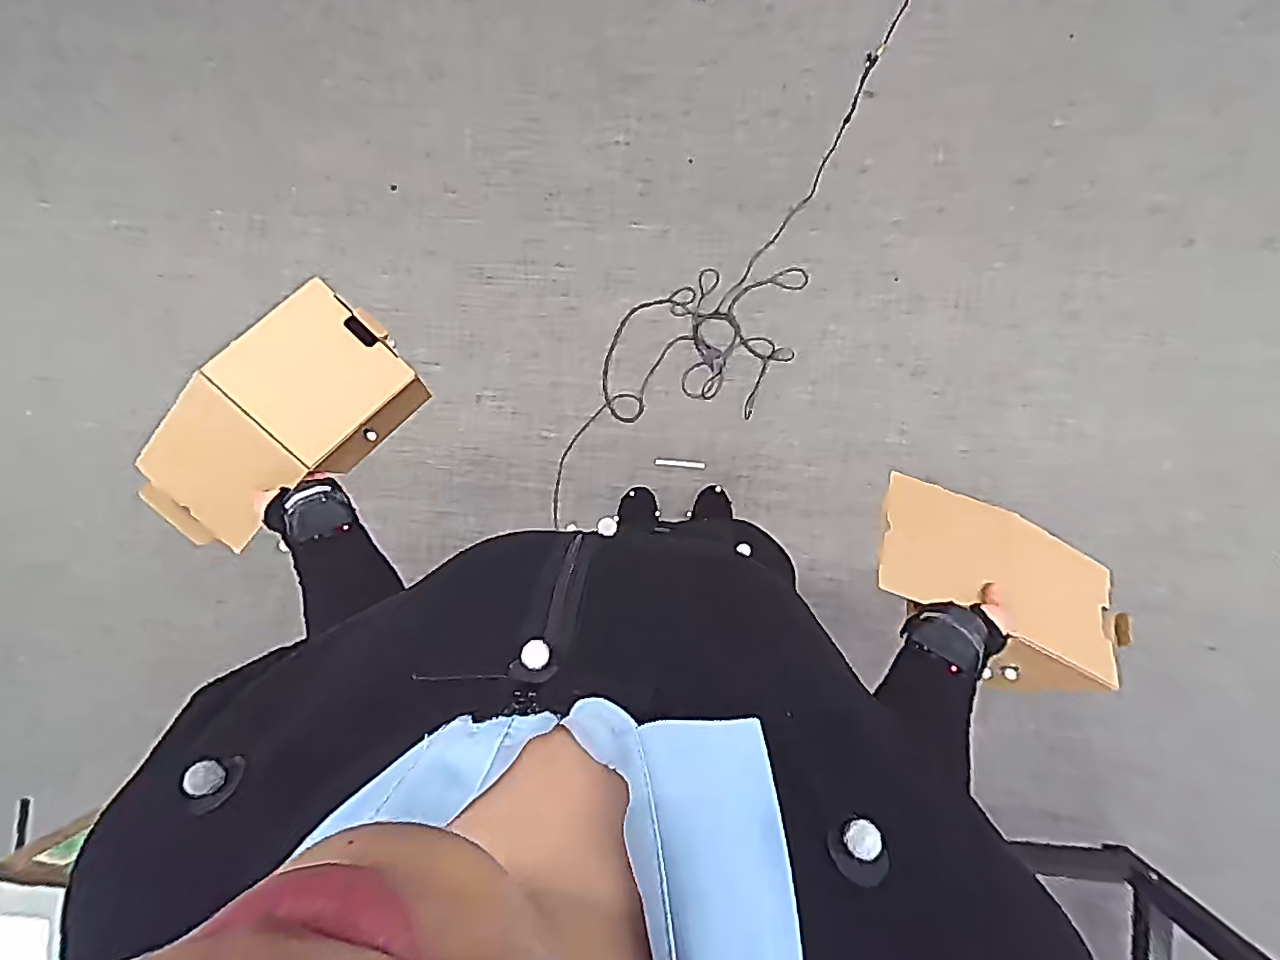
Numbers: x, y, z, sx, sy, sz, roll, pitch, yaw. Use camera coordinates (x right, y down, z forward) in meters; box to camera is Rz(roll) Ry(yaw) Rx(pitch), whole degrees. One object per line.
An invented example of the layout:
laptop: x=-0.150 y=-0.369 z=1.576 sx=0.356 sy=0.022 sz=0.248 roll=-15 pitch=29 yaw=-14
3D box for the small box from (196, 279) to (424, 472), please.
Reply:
small box: x=-0.415 y=-0.125 z=0.721 sx=0.168 sy=0.176 sz=0.179 roll=46 pitch=79 yaw=-11
